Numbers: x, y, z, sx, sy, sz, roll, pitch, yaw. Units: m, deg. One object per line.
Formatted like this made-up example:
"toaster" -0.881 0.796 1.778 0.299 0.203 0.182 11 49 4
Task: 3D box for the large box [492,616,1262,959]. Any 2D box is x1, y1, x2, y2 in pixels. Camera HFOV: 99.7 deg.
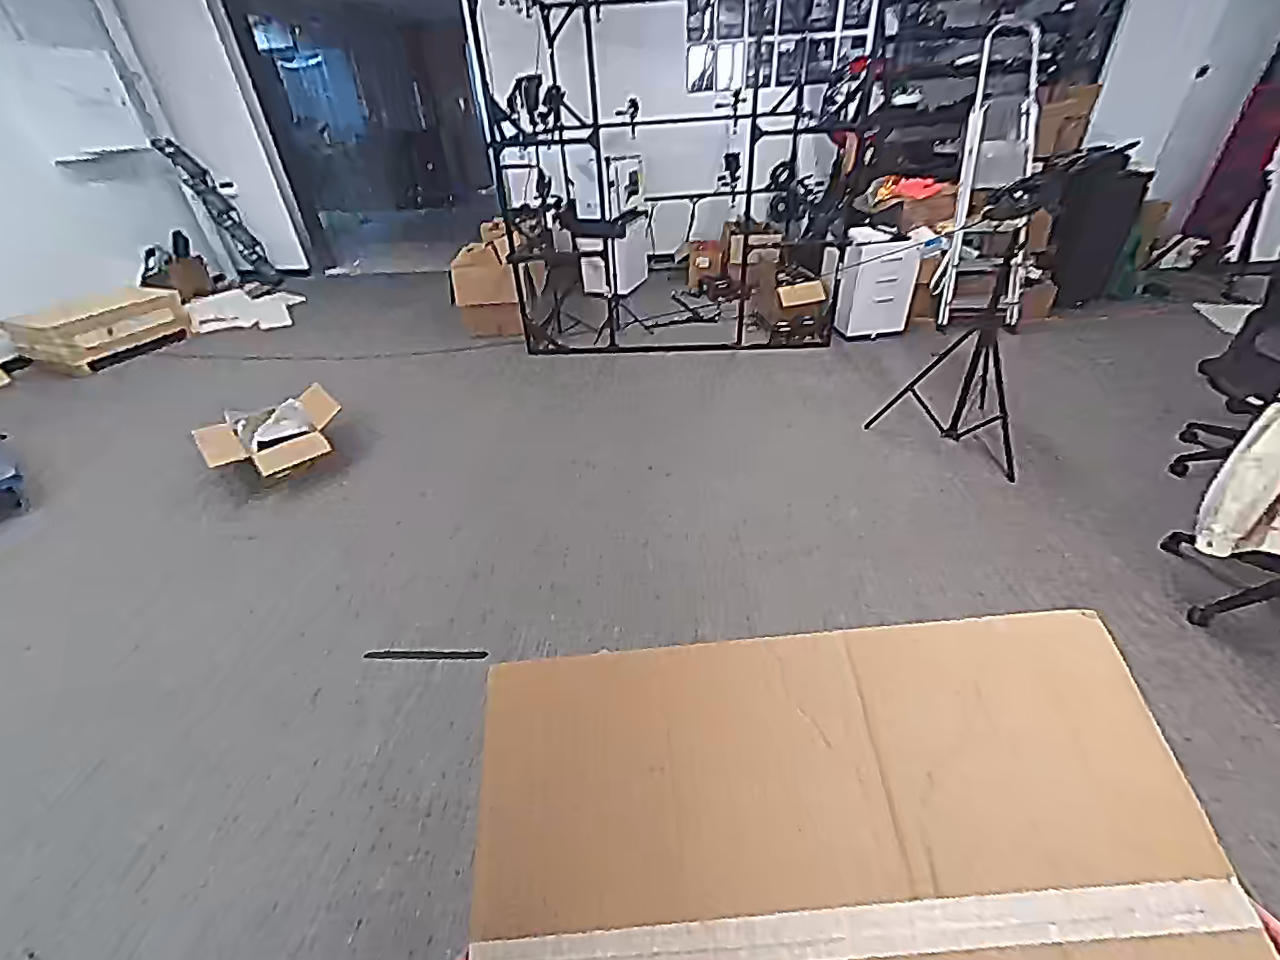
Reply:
"large box" 0.125 0.322 0.417 0.408 0.320 0.320 -6 59 2
